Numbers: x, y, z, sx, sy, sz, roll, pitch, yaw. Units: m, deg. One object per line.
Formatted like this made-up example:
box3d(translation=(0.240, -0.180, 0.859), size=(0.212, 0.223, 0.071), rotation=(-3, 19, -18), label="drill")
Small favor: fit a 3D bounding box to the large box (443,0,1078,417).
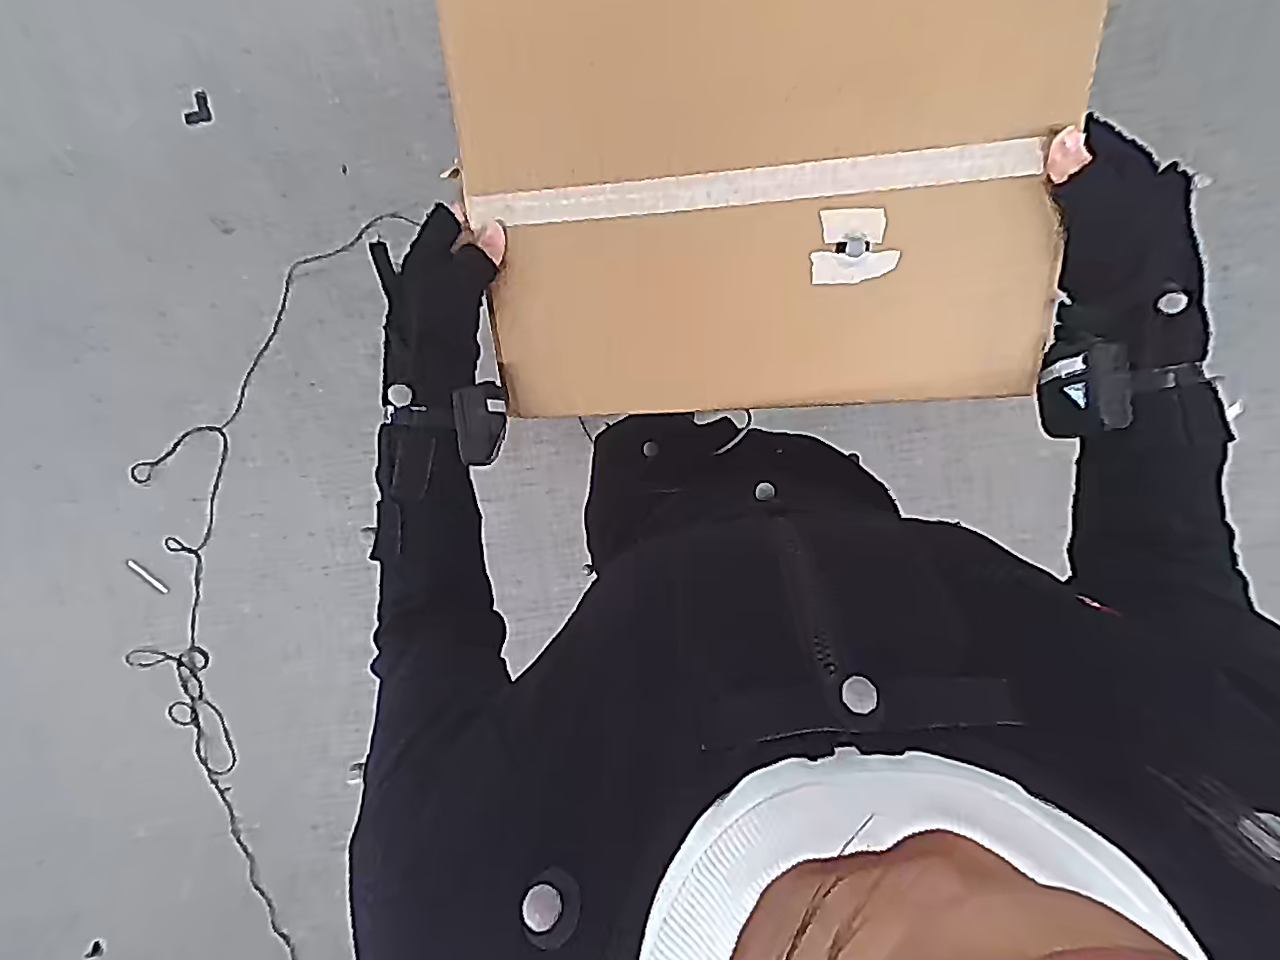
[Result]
box3d(translation=(0.090, -0.261, 0.520), size=(0.408, 0.320, 0.320), rotation=(-3, 112, 7), label="large box")
